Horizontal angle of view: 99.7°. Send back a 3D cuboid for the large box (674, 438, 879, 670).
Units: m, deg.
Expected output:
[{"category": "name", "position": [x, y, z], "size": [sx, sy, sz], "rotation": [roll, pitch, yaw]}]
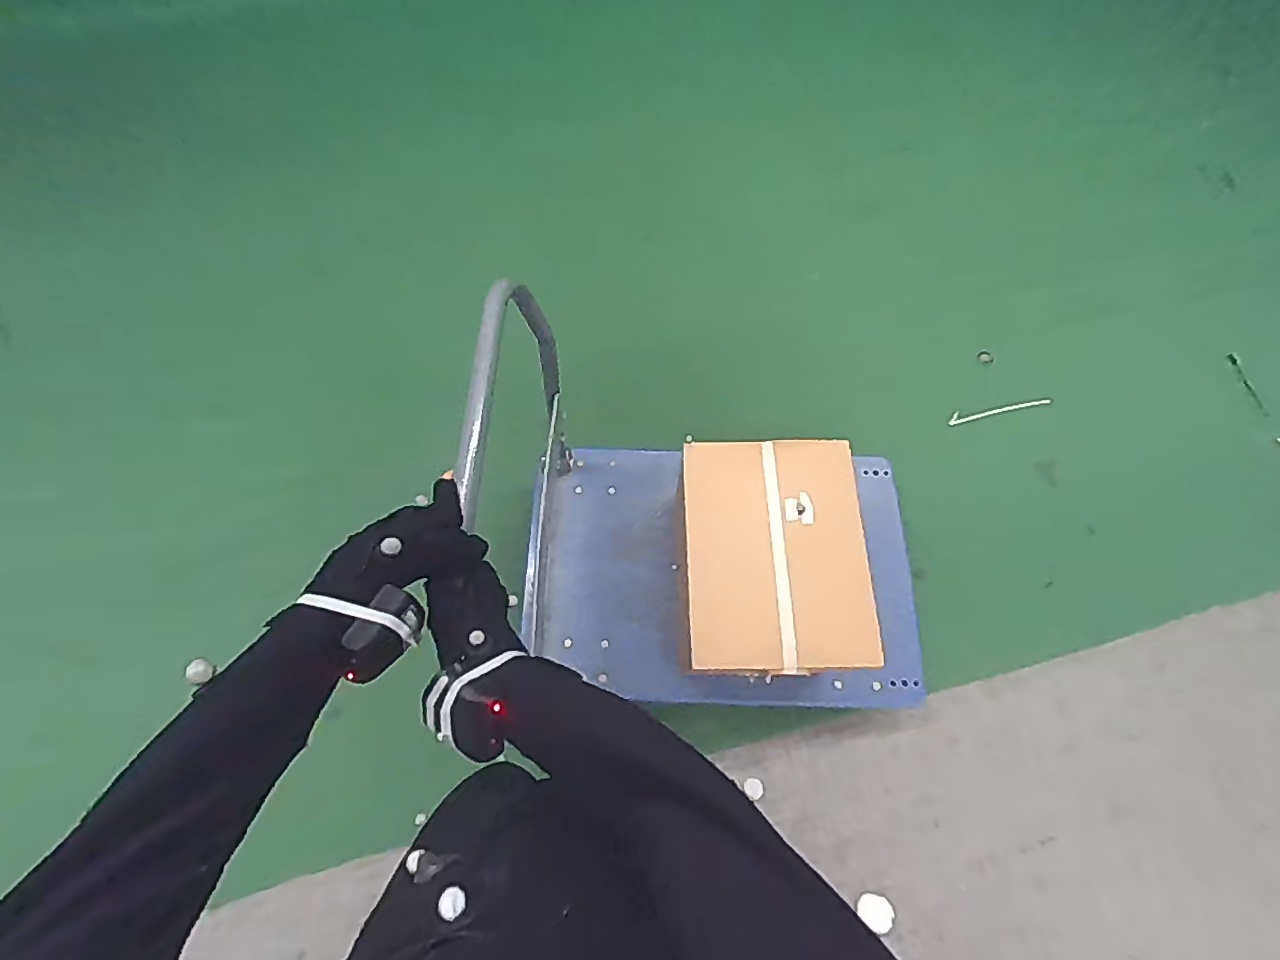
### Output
[{"category": "large box", "position": [0.236, 0.163, 1.089], "size": [0.320, 0.320, 0.408], "rotation": [0, 69, -1]}]
